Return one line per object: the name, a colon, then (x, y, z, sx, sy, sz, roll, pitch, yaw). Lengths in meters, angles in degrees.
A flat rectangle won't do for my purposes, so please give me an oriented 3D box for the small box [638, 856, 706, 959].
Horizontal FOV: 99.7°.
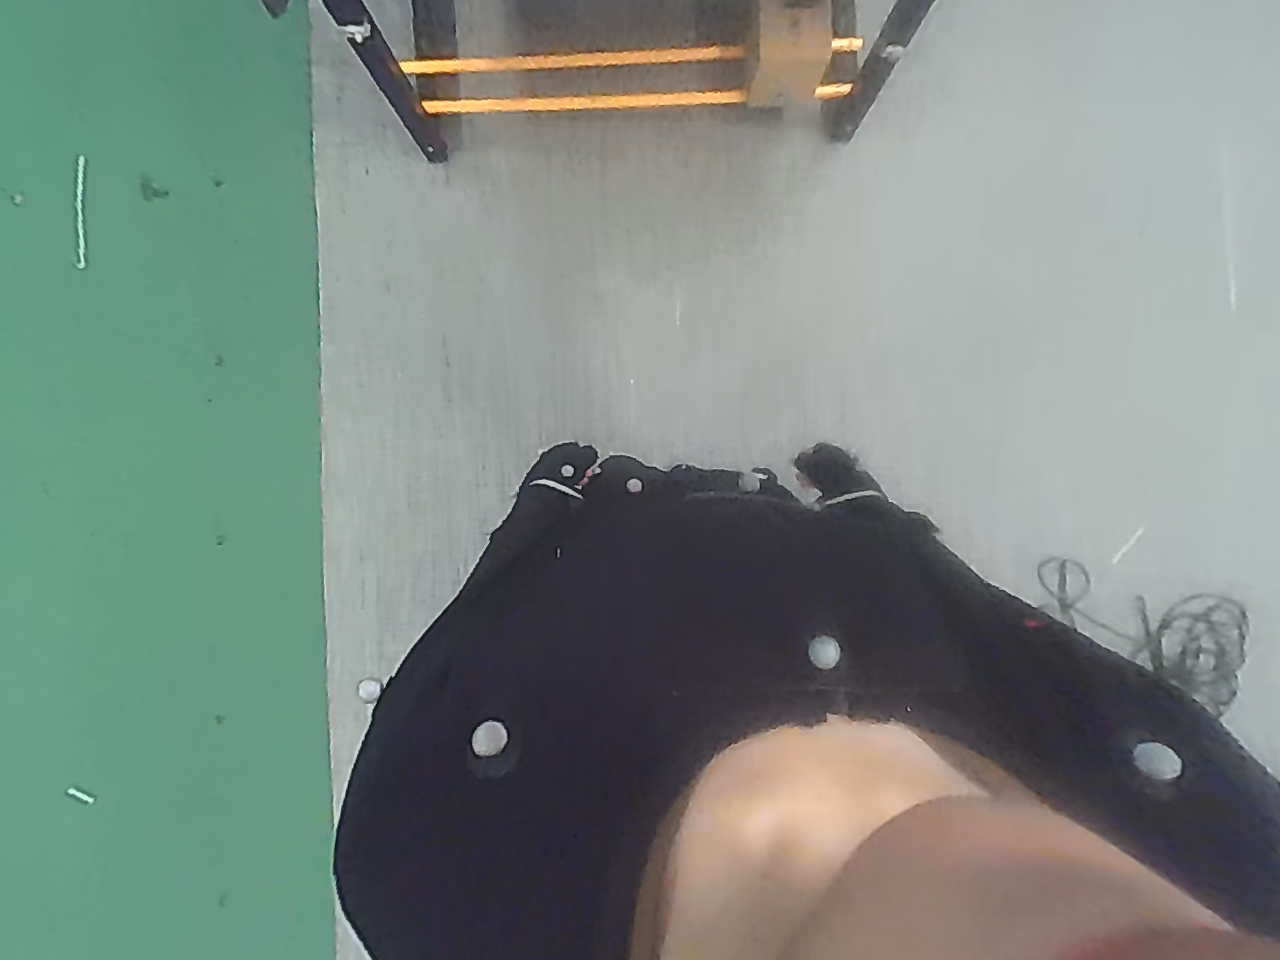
small box: (0.077, 1.086, 1.366, 0.168, 0.176, 0.179, -1, 88, 1)
